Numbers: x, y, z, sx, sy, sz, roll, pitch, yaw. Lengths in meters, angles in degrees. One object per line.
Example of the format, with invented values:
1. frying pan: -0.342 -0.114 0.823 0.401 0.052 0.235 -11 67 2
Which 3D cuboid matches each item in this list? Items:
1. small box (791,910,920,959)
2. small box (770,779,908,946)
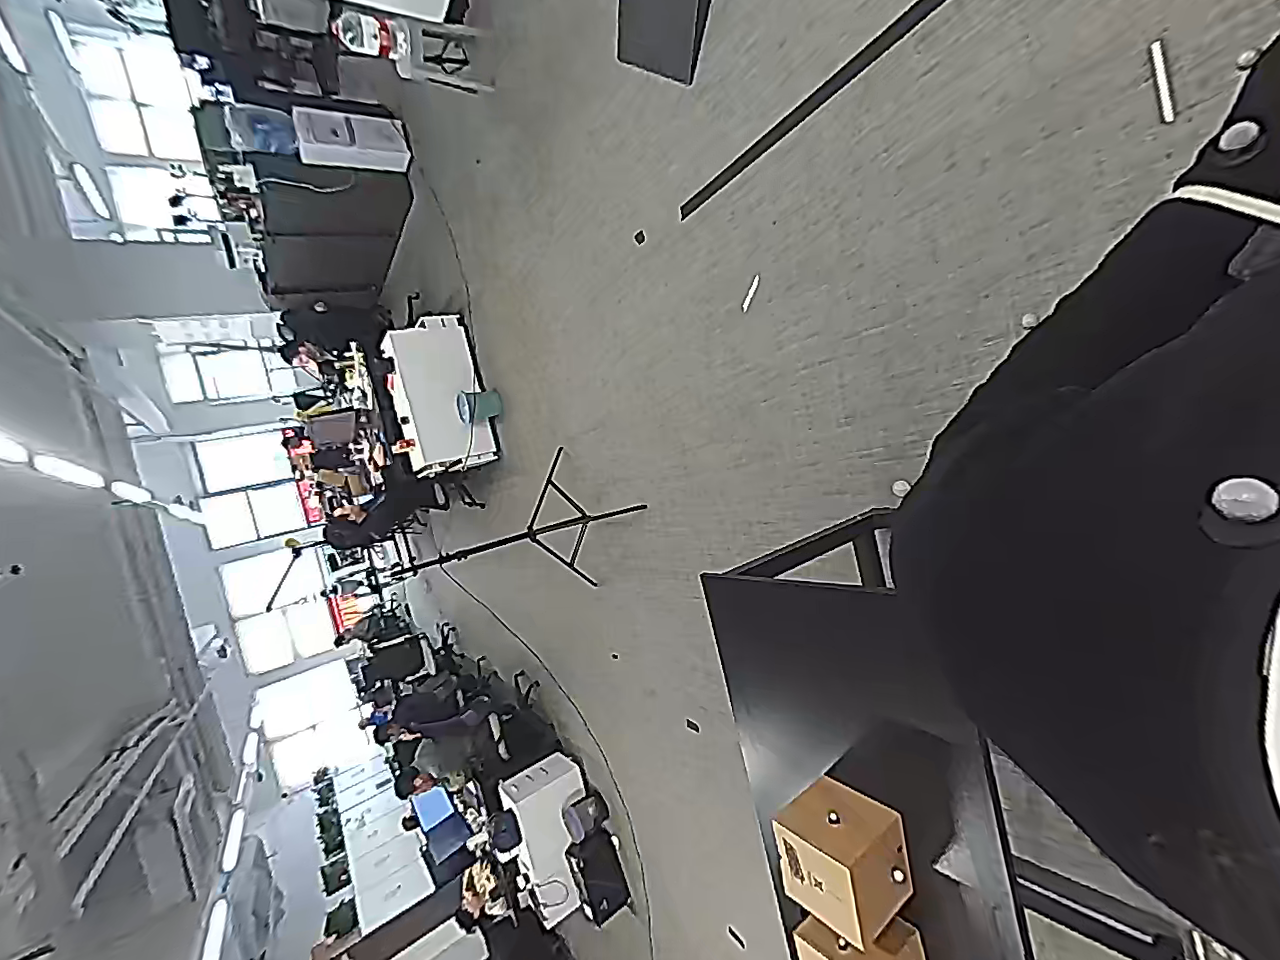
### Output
1. small box: 0.433 0.954 1.060 0.179 0.176 0.168 -11 93 57
2. small box: 0.380 0.711 1.036 0.179 0.176 0.168 -3 101 55
